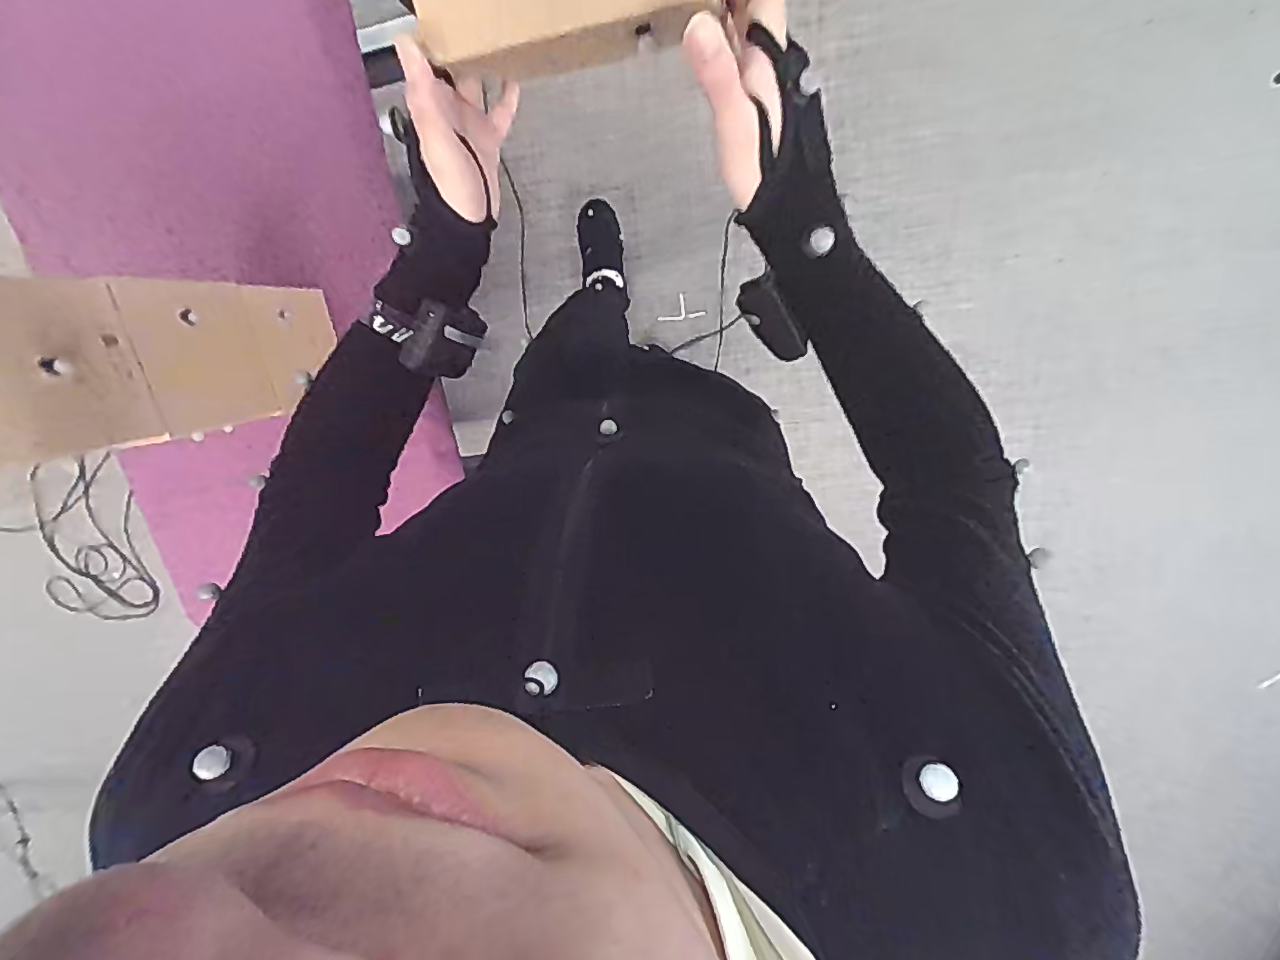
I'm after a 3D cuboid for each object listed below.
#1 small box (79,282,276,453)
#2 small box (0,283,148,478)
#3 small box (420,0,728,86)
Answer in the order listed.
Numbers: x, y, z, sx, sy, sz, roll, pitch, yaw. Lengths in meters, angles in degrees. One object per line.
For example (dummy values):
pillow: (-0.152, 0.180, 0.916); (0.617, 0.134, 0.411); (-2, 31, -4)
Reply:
small box: (-0.601, -0.137, 0.666); (0.168, 0.176, 0.179); (-6, 106, 8)
small box: (-0.626, -0.089, 0.511); (0.179, 0.176, 0.168); (-7, 105, 9)
small box: (-0.037, -0.368, 0.342); (0.179, 0.176, 0.168); (0, 122, 15)
